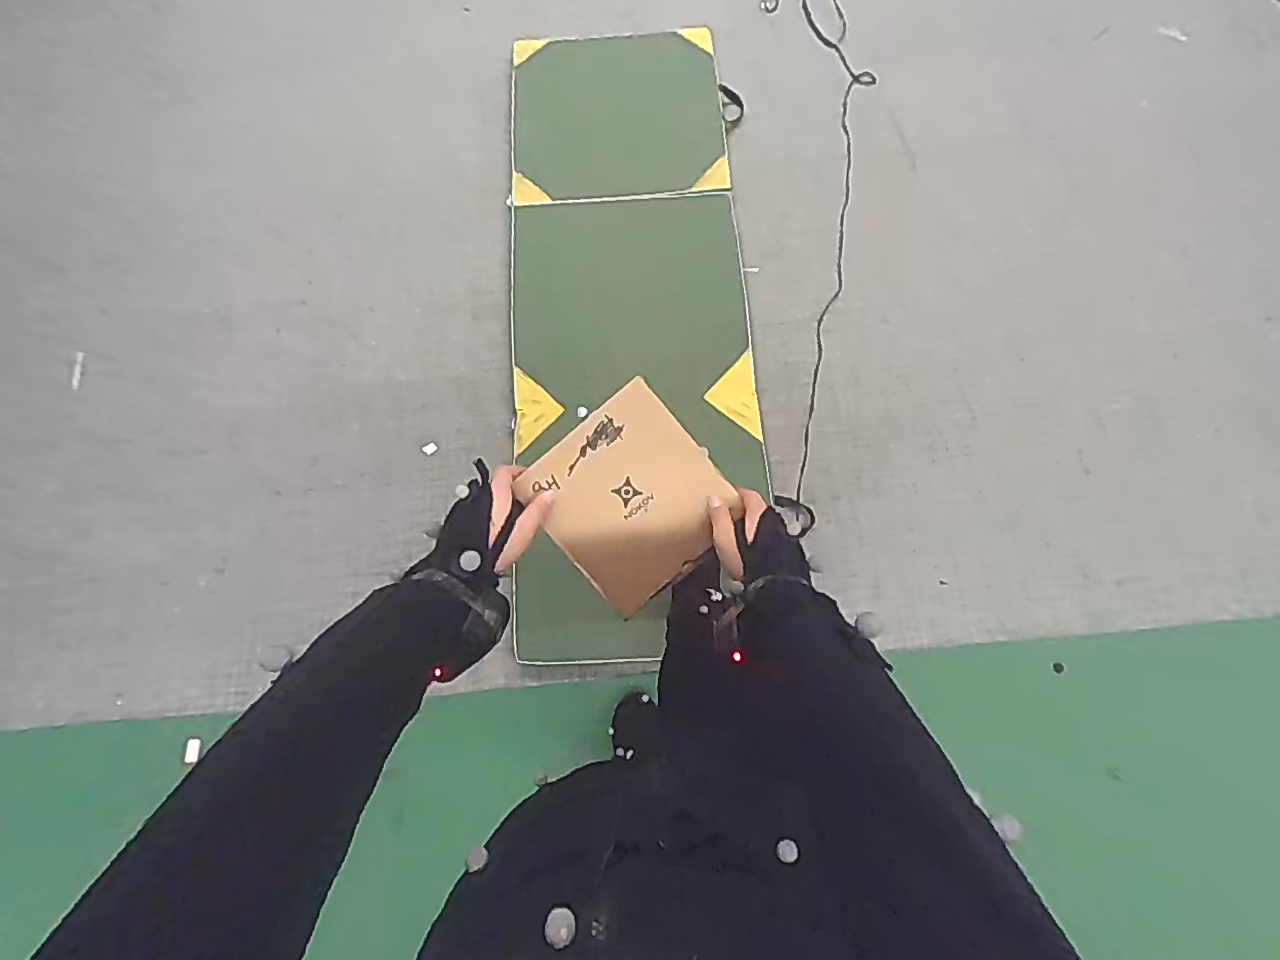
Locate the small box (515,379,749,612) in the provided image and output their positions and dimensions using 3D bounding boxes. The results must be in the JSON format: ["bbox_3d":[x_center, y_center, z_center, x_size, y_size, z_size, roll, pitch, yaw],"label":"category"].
[{"bbox_3d":[-0.009,0.011,0.607,0.168,0.176,0.179,-40,94,0],"label":"small box"}]
